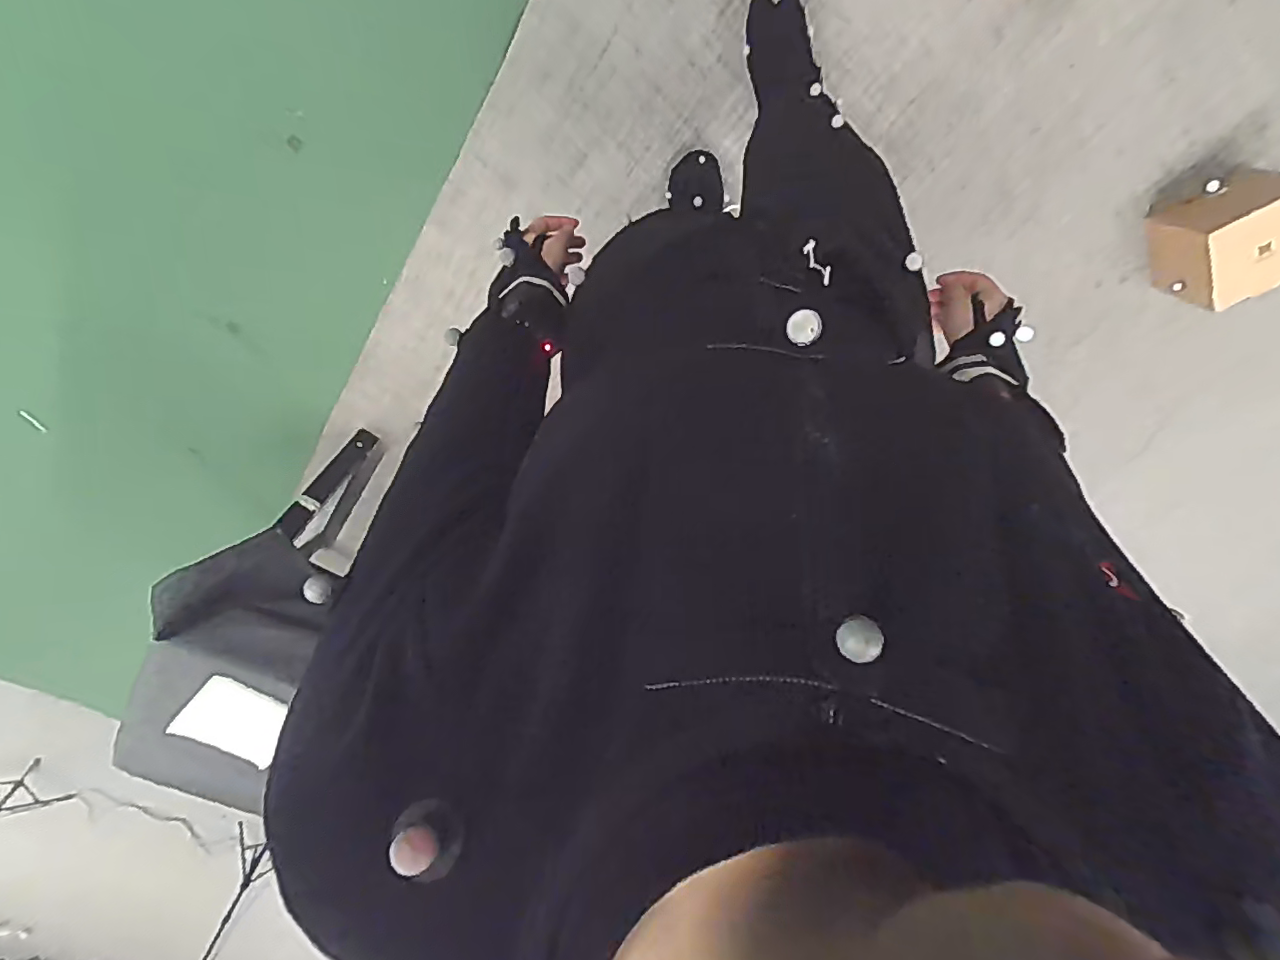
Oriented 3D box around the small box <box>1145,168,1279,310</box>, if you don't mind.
[{"bbox_3d":[1.135,-0.468,1.044,0.168,0.176,0.179,-29,118,22],"label":"small box"}]
